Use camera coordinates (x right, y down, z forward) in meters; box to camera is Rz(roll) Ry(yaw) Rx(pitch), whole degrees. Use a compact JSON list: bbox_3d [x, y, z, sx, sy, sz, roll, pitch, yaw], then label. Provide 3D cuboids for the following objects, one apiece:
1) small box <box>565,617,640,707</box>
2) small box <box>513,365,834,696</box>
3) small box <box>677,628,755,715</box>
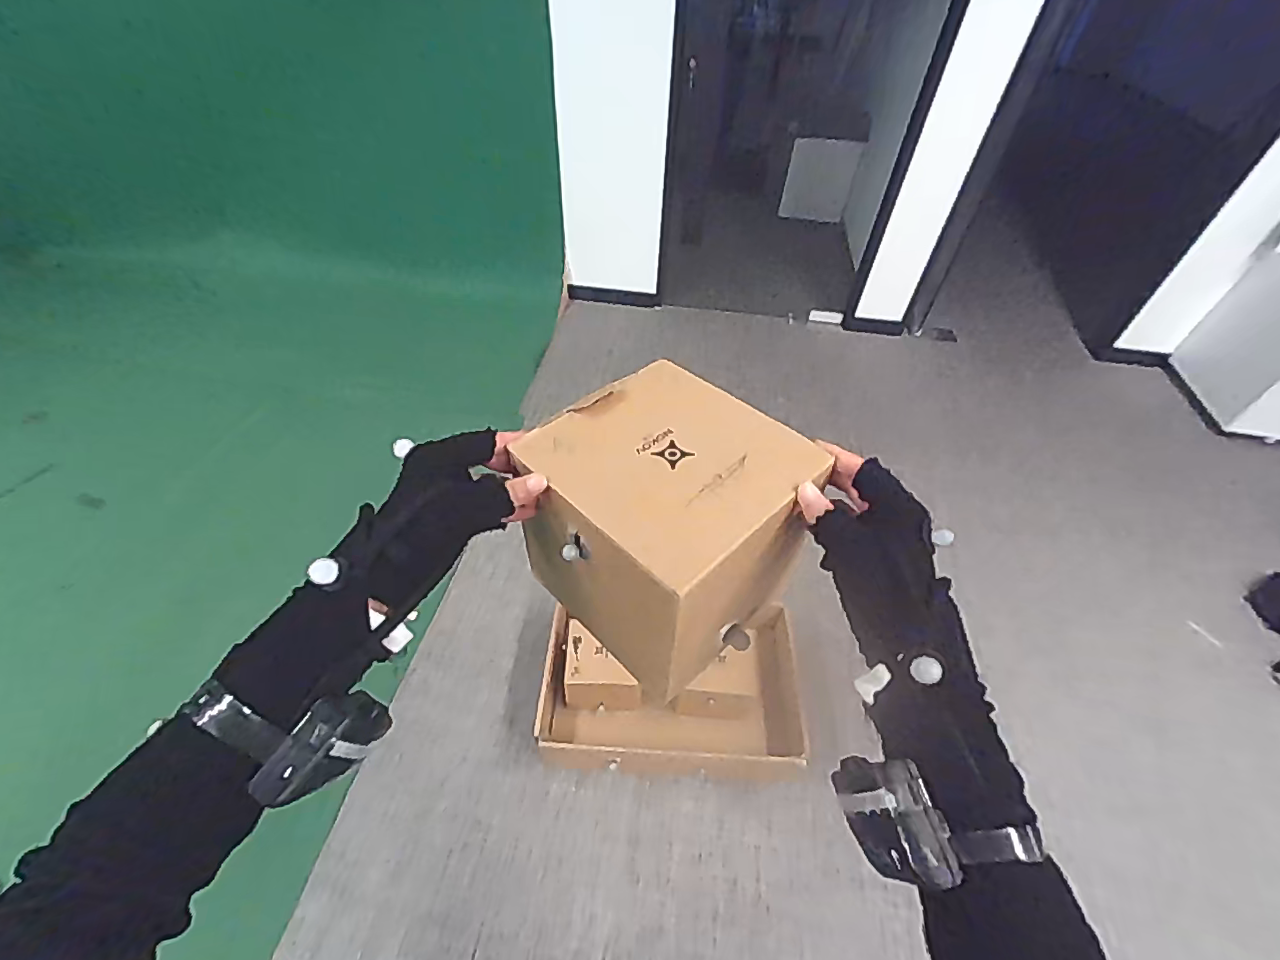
[{"bbox_3d":[-0.093,0.464,1.373,0.179,0.176,0.168,3,47,-3],"label":"small box"},{"bbox_3d":[0.020,0.039,0.446,0.168,0.176,0.179,-35,57,-30],"label":"small box"},{"bbox_3d":[0.188,0.481,1.372,0.179,0.176,0.168,4,48,2],"label":"small box"}]
